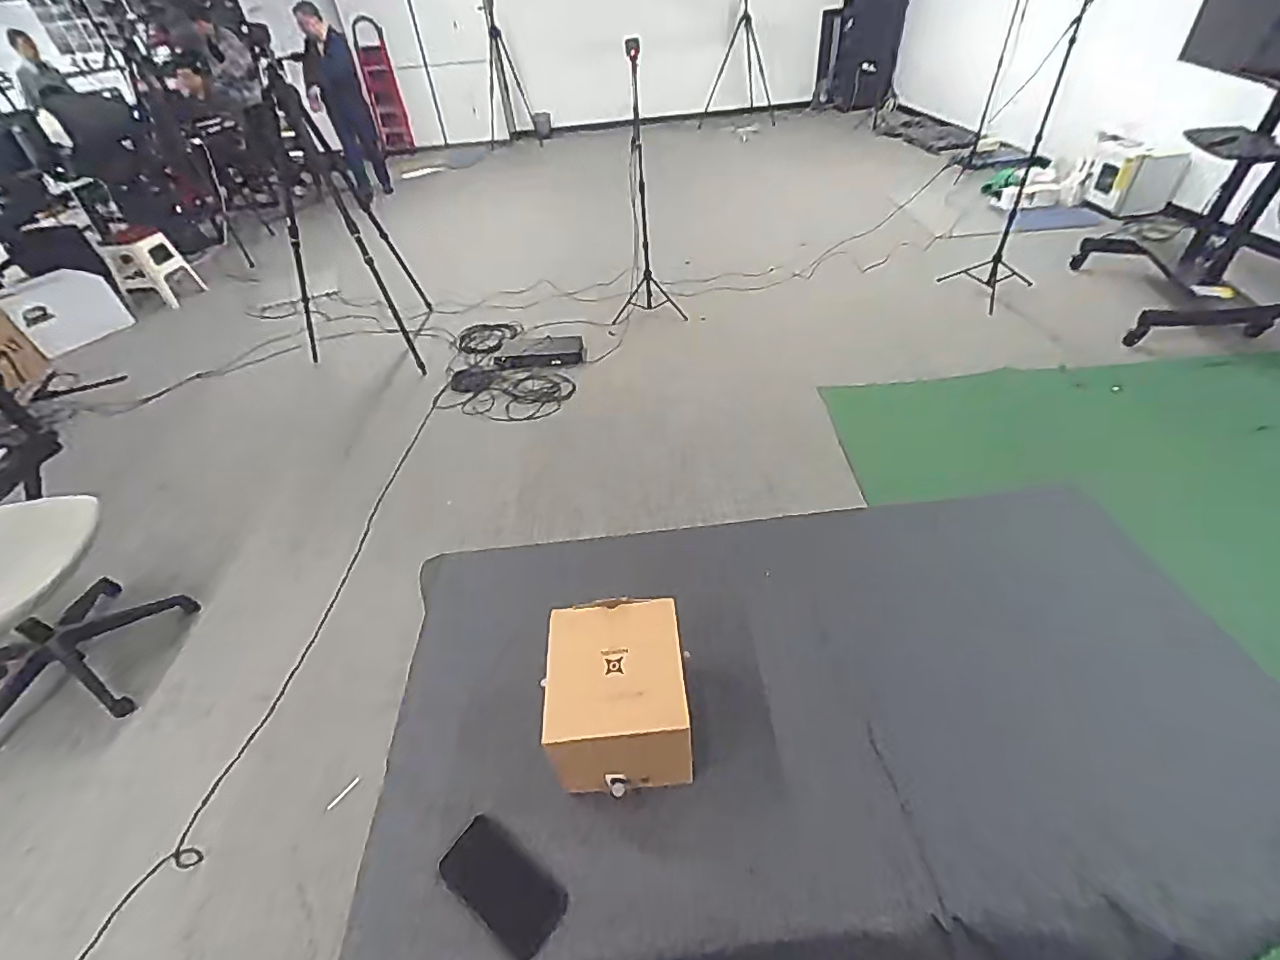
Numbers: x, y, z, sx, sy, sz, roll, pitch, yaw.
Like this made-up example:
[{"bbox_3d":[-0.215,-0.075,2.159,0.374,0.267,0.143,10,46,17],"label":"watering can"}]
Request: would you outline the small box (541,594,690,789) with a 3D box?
[{"bbox_3d":[-0.026,0.275,0.707,0.168,0.176,0.179,-6,43,1],"label":"small box"}]
